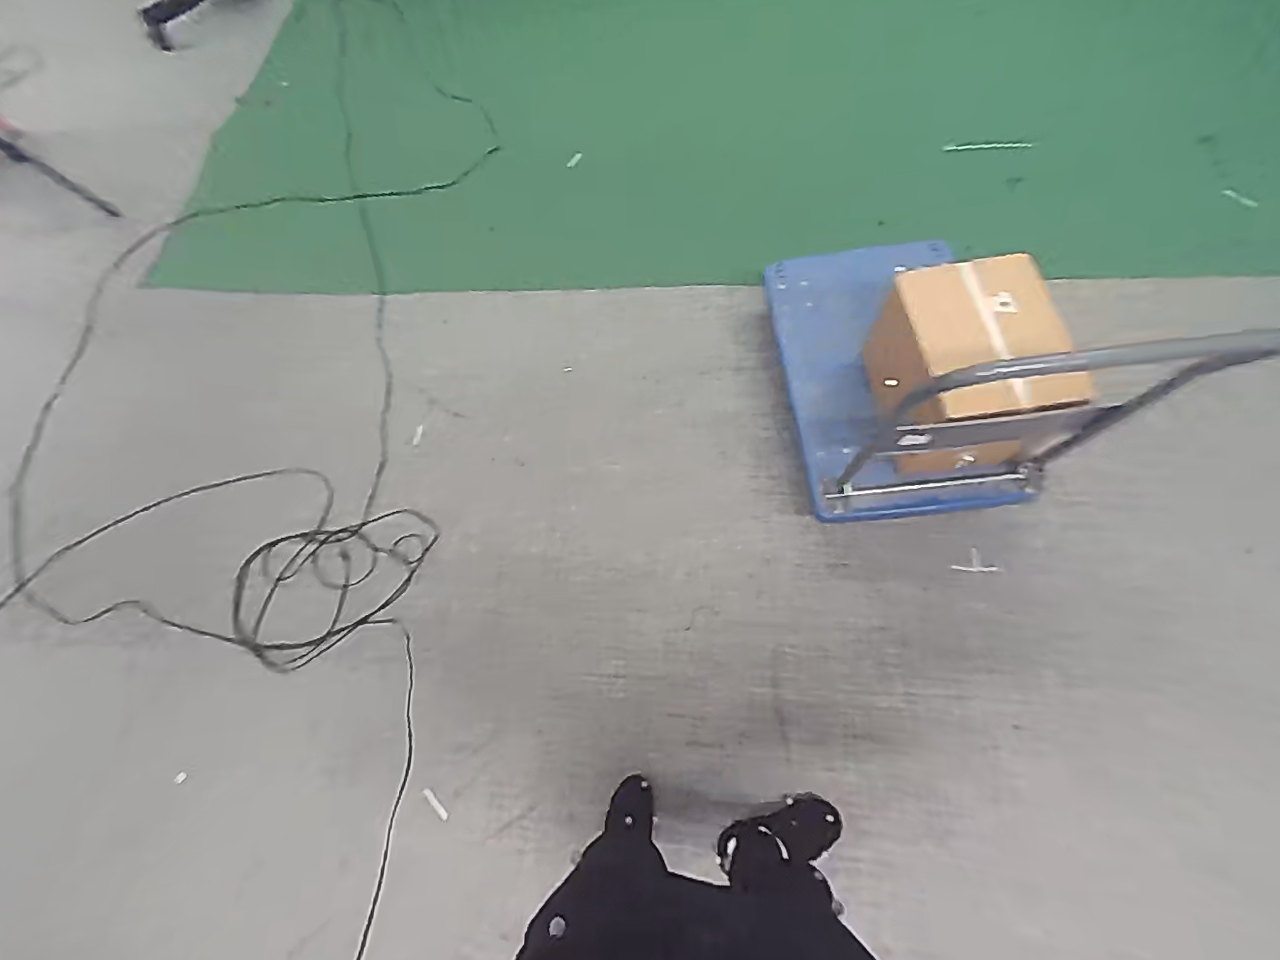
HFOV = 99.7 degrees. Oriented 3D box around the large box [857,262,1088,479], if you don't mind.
[{"bbox_3d":[0.783,-0.259,1.350,0.320,0.320,0.408,-8,66,2],"label":"large box"}]
